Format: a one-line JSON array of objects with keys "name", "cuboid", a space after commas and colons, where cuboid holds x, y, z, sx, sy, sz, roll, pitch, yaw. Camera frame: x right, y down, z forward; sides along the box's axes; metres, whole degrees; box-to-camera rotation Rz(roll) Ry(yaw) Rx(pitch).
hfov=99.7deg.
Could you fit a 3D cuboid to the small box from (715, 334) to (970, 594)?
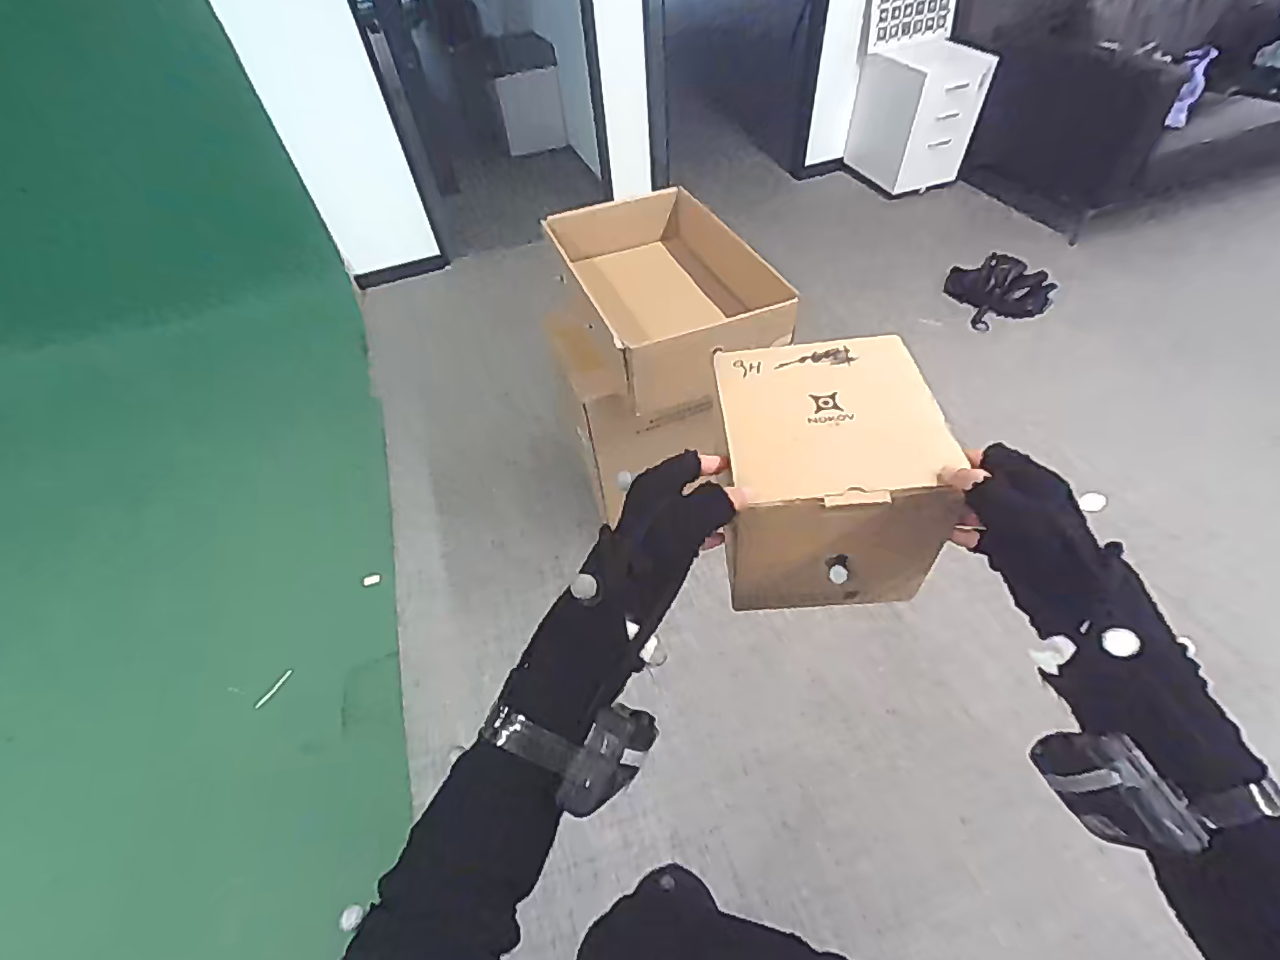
[{"name": "small box", "cuboid": [0.160, -0.006, 0.496, 0.168, 0.176, 0.179, -5, 51, 4]}]
